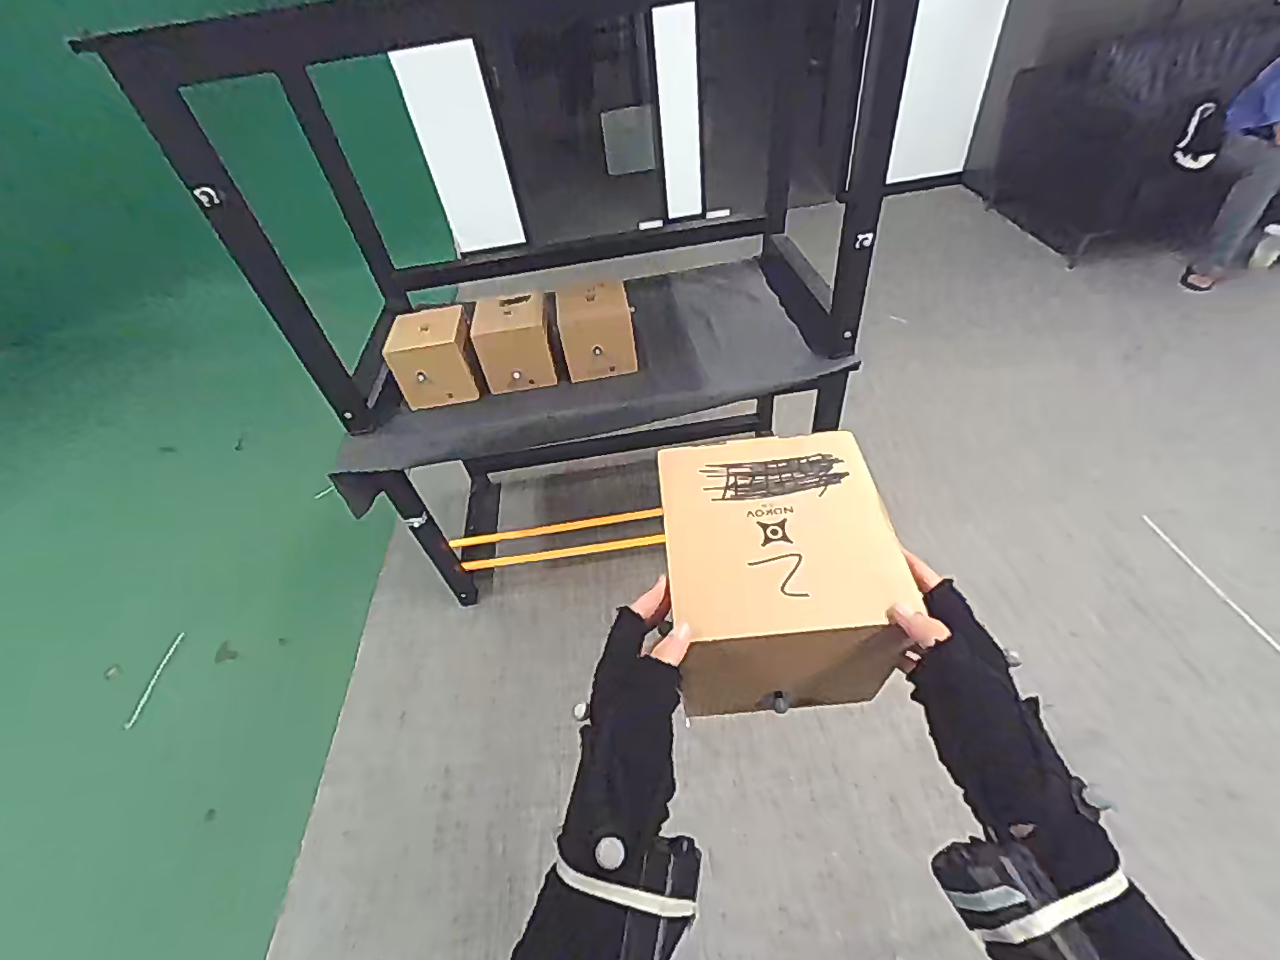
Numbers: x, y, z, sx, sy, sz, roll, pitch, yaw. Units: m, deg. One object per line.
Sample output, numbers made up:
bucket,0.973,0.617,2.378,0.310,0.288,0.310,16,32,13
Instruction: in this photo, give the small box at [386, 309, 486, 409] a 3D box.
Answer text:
small box,-0.484,-0.286,1.313,0.168,0.176,0.179,-9,44,0
